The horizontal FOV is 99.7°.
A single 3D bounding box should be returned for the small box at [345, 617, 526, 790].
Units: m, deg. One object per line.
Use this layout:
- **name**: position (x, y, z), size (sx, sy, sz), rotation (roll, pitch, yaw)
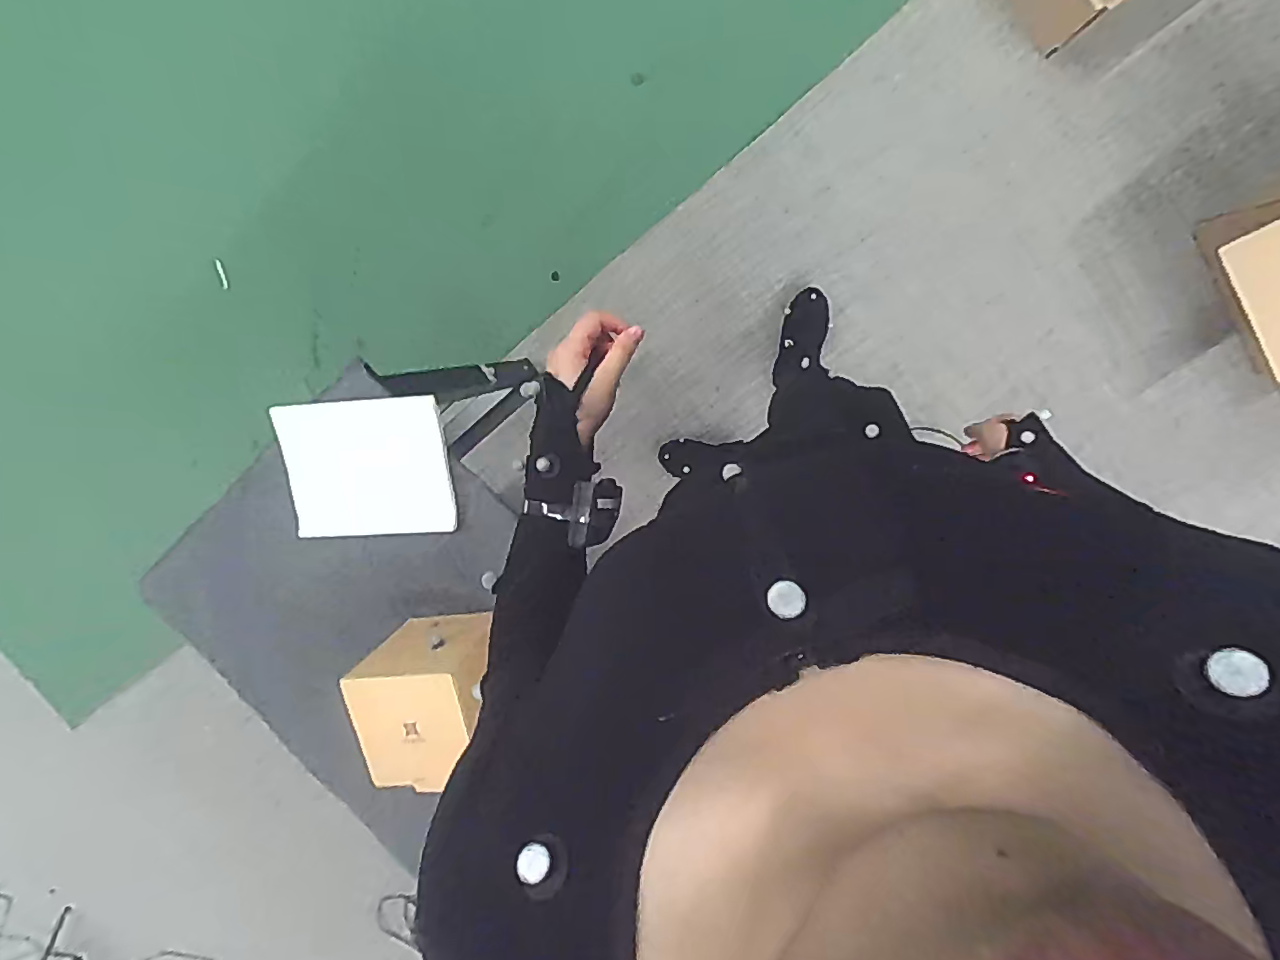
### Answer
- **small box**: position (-0.283, 0.313, 0.787), size (0.168, 0.176, 0.179), rotation (-8, 104, 10)
